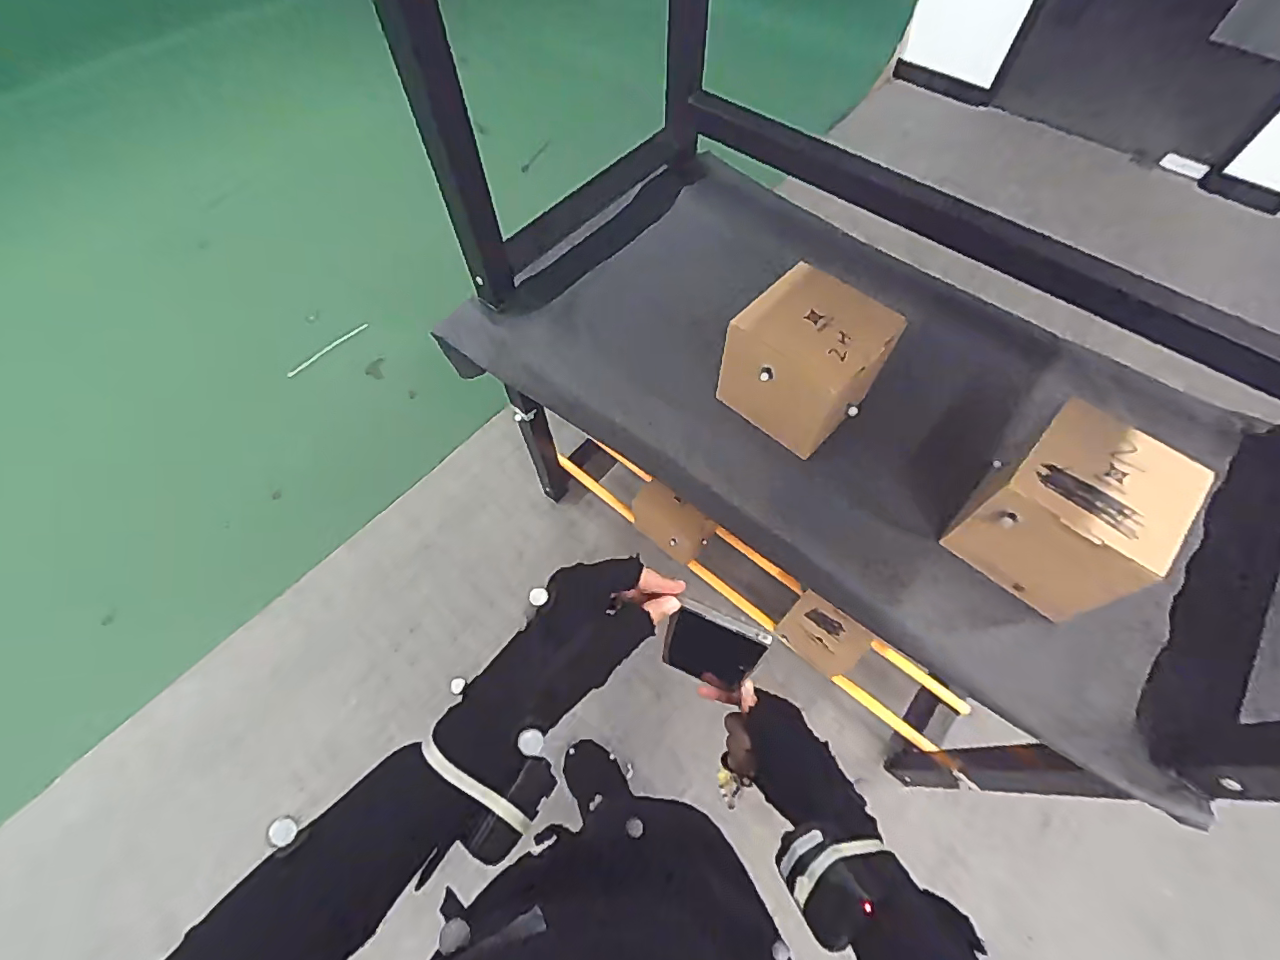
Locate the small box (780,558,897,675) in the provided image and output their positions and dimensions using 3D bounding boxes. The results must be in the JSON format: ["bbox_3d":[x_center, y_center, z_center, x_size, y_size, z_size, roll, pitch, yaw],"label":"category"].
[{"bbox_3d":[0.436,0.315,1.221,0.168,0.176,0.179,40,70,20],"label":"small box"}]

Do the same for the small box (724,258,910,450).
[{"bbox_3d":[0.240,-0.176,0.780,0.179,0.176,0.168,40,69,20],"label":"small box"}]
